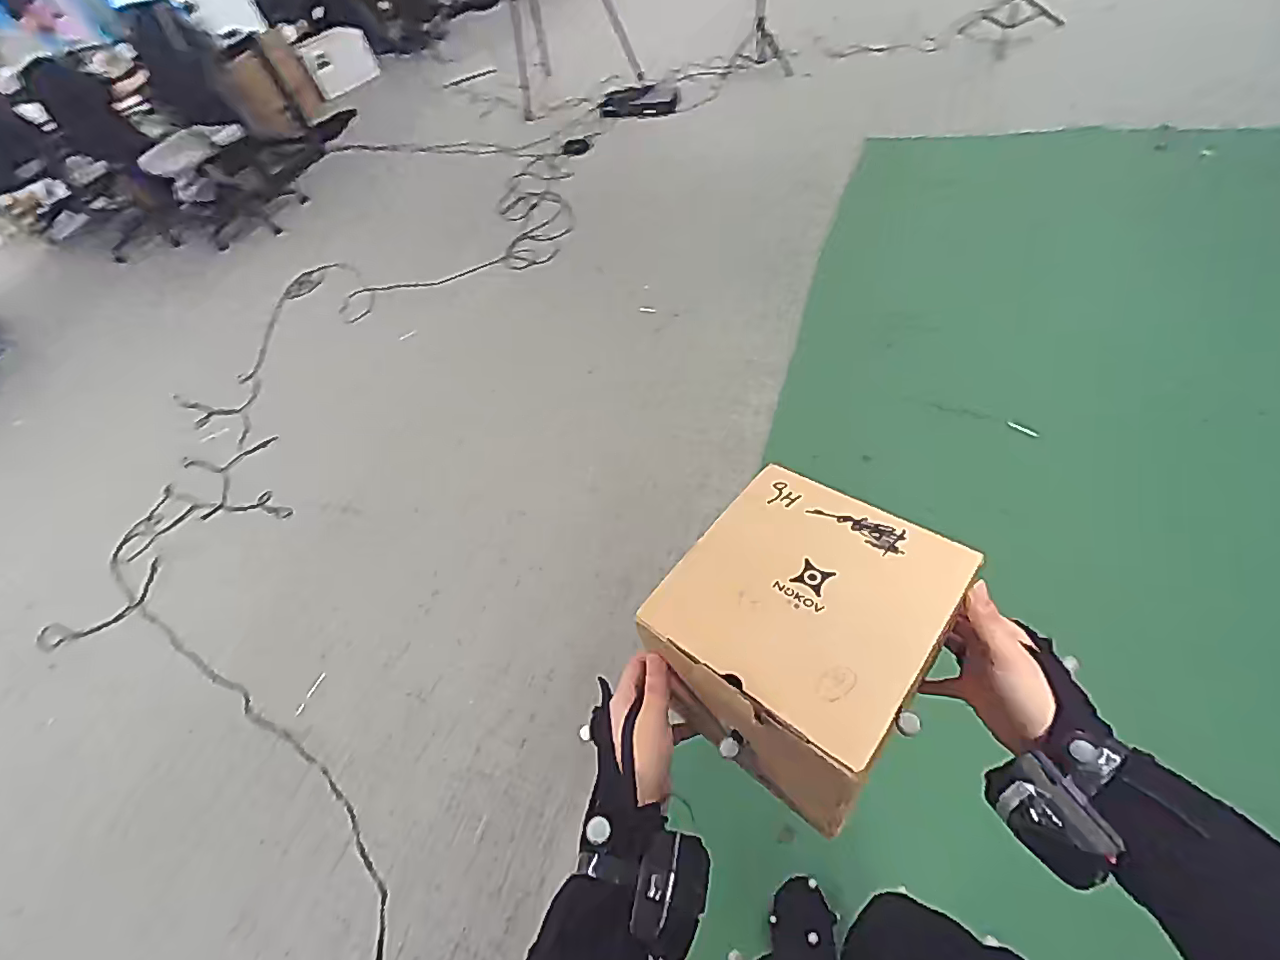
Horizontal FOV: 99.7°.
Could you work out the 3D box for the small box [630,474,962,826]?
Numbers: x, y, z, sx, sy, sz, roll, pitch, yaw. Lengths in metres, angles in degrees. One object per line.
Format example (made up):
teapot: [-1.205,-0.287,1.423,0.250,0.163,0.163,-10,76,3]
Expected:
small box: [0.122,0.133,0.431,0.168,0.176,0.179,27,59,33]
